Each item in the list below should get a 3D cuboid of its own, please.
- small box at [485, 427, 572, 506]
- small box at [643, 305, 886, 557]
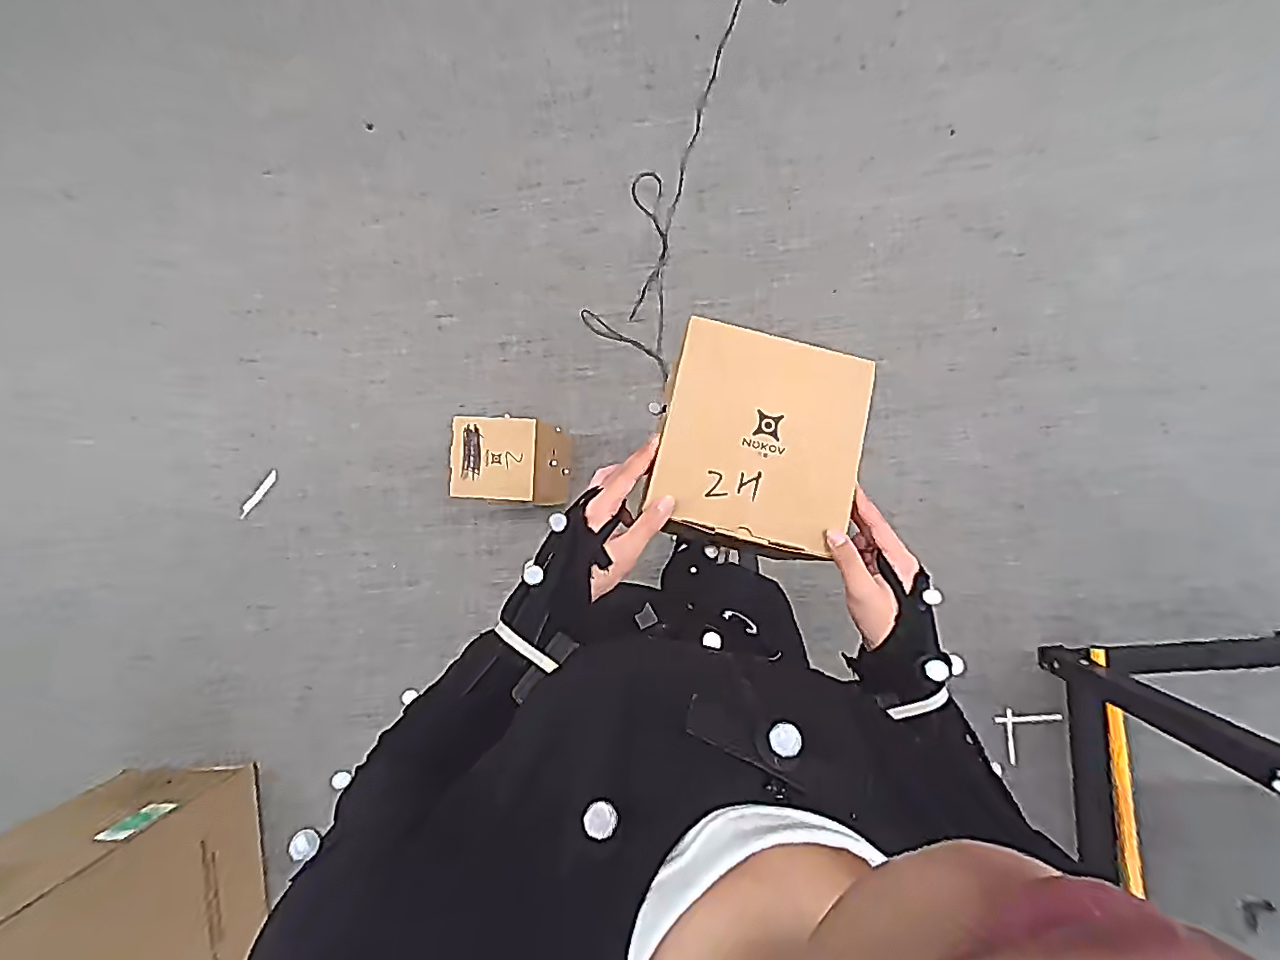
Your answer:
[{"bbox_3d":[-0.264,-0.032,1.313,0.168,0.176,0.179,3,91,6],"label":"small box"},{"bbox_3d":[0.102,-0.031,0.514,0.168,0.176,0.179,14,80,-1],"label":"small box"}]
